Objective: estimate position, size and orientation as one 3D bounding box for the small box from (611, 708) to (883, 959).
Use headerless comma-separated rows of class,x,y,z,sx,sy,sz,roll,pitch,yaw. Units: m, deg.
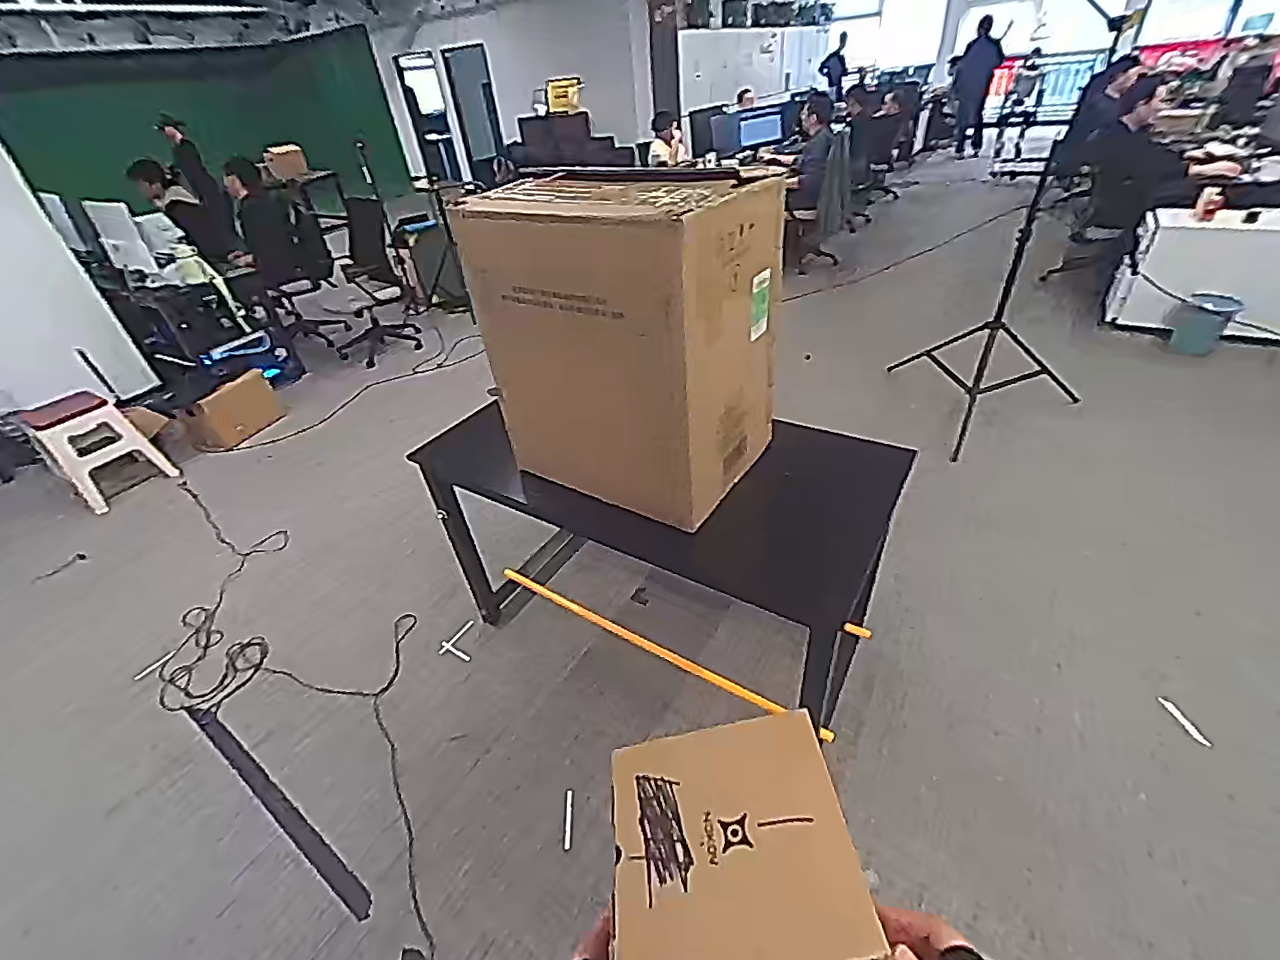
small box,0.085,0.322,0.440,0.179,0.176,0.168,-15,33,6
